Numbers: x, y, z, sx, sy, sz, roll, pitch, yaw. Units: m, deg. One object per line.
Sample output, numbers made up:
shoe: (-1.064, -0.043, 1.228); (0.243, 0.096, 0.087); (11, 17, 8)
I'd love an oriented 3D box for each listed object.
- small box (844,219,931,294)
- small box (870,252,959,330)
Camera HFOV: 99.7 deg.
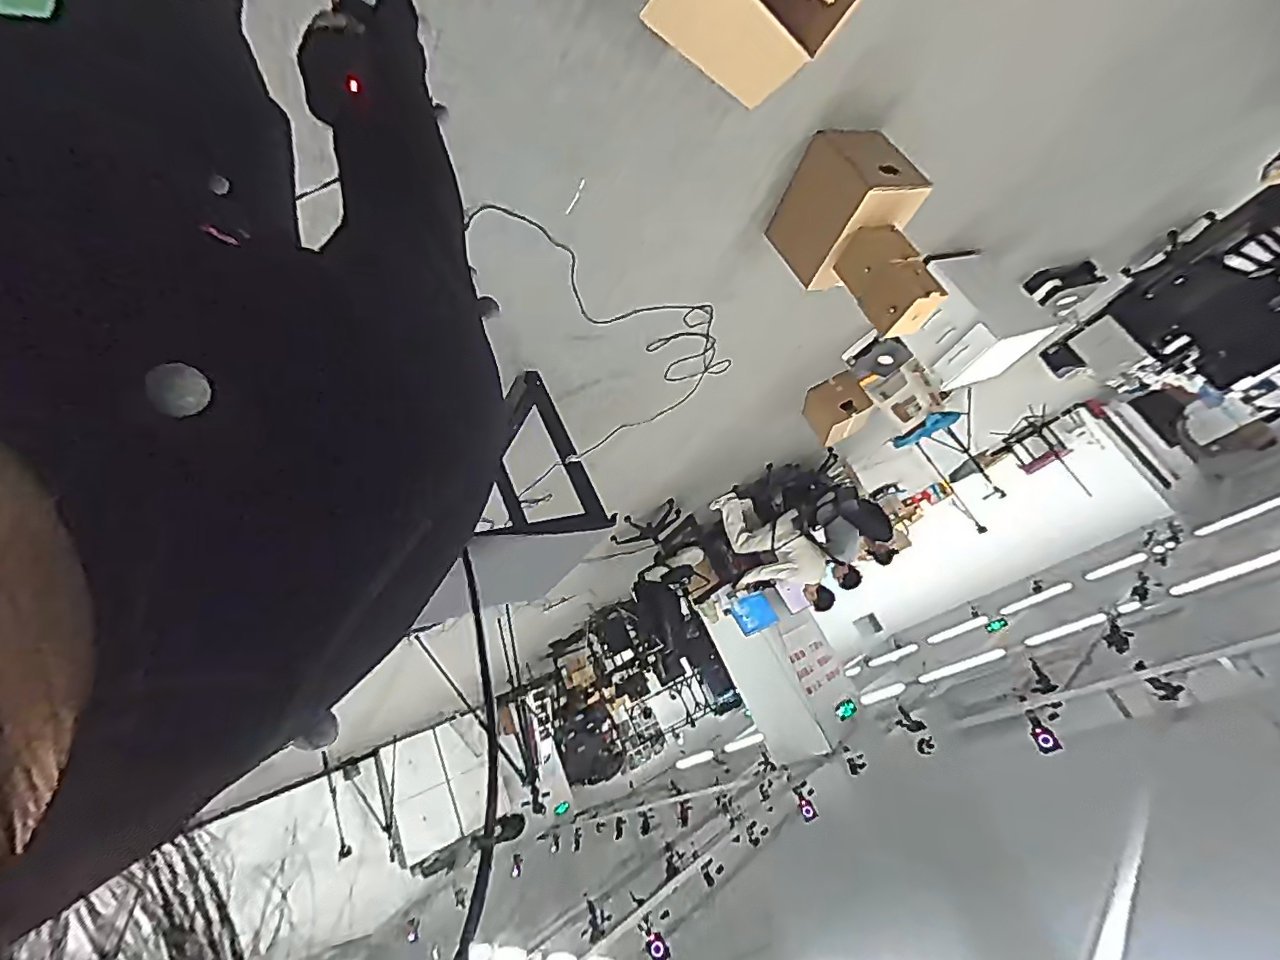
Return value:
small box: (0.838, -0.770, 1.850); (0.168, 0.176, 0.179); (-16, 156, -24)
small box: (0.902, -0.628, 1.800); (0.168, 0.176, 0.179); (-15, 155, -25)
